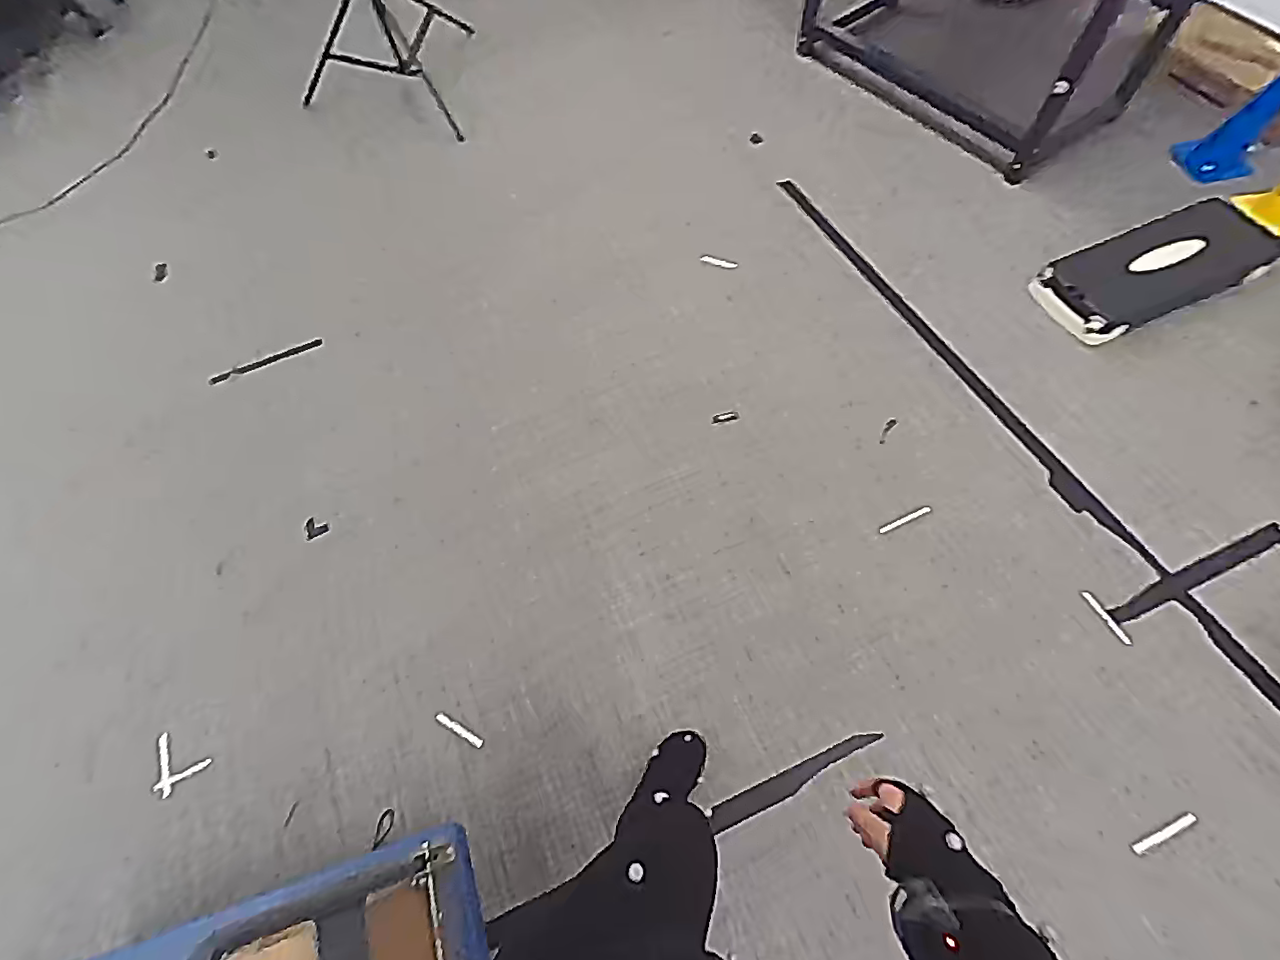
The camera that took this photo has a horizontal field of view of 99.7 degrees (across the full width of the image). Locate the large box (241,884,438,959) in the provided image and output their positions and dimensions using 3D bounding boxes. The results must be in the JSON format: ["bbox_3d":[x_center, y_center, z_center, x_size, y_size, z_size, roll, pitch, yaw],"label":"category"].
[{"bbox_3d":[-0.502,0.935,0.826,0.320,0.320,0.408,-20,63,-5],"label":"large box"}]
